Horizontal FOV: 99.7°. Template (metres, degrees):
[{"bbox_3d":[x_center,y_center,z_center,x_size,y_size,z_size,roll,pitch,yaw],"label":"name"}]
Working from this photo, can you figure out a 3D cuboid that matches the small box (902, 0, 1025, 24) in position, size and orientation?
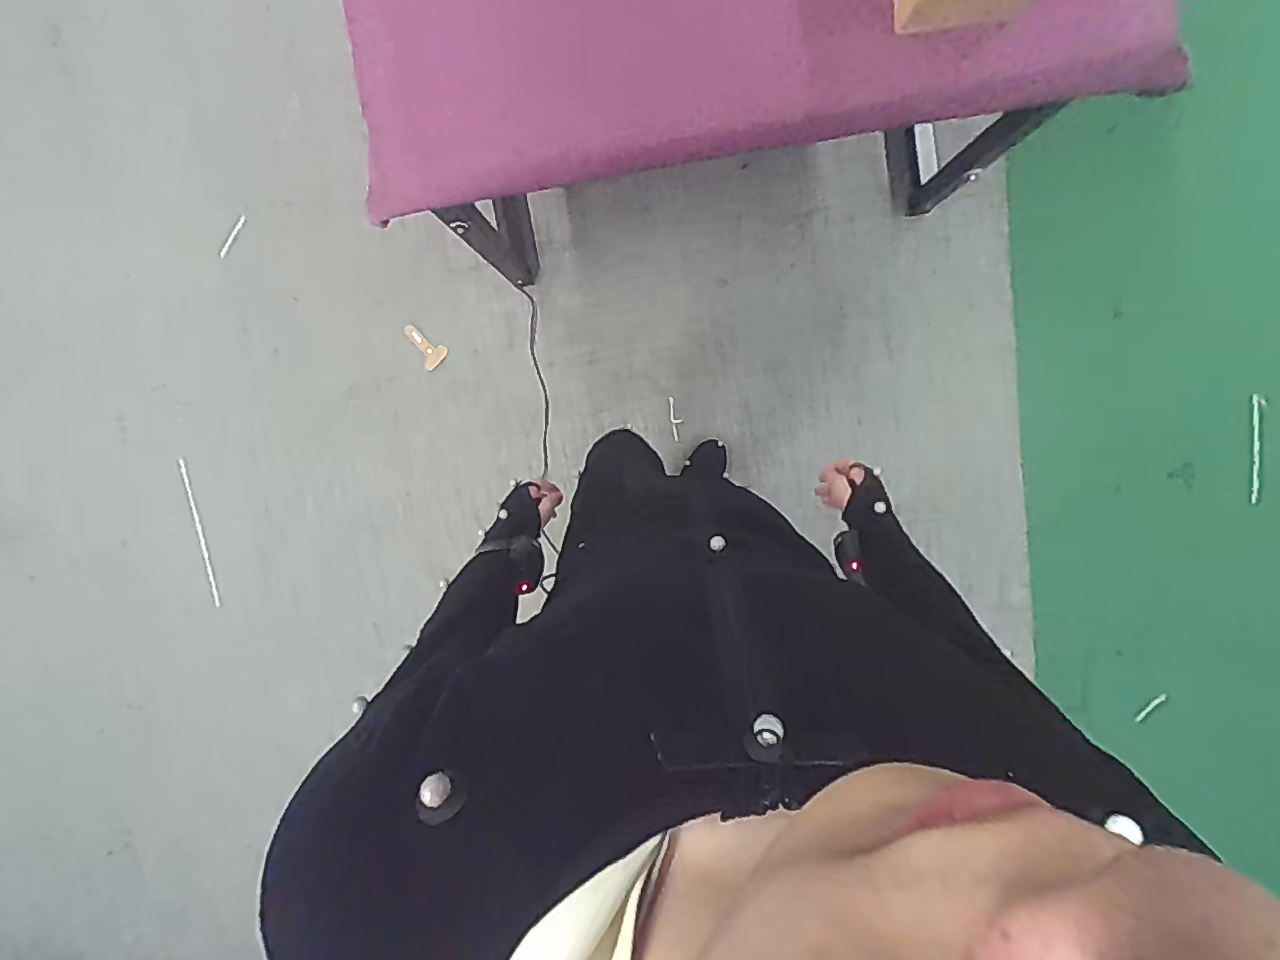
[{"bbox_3d":[0.450,-0.733,0.691,0.179,0.176,0.168,-6,96,4],"label":"small box"}]

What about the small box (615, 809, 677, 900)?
[{"bbox_3d":[0.021,1.151,1.671,0.179,0.176,0.168,-5,97,4],"label":"small box"}]
